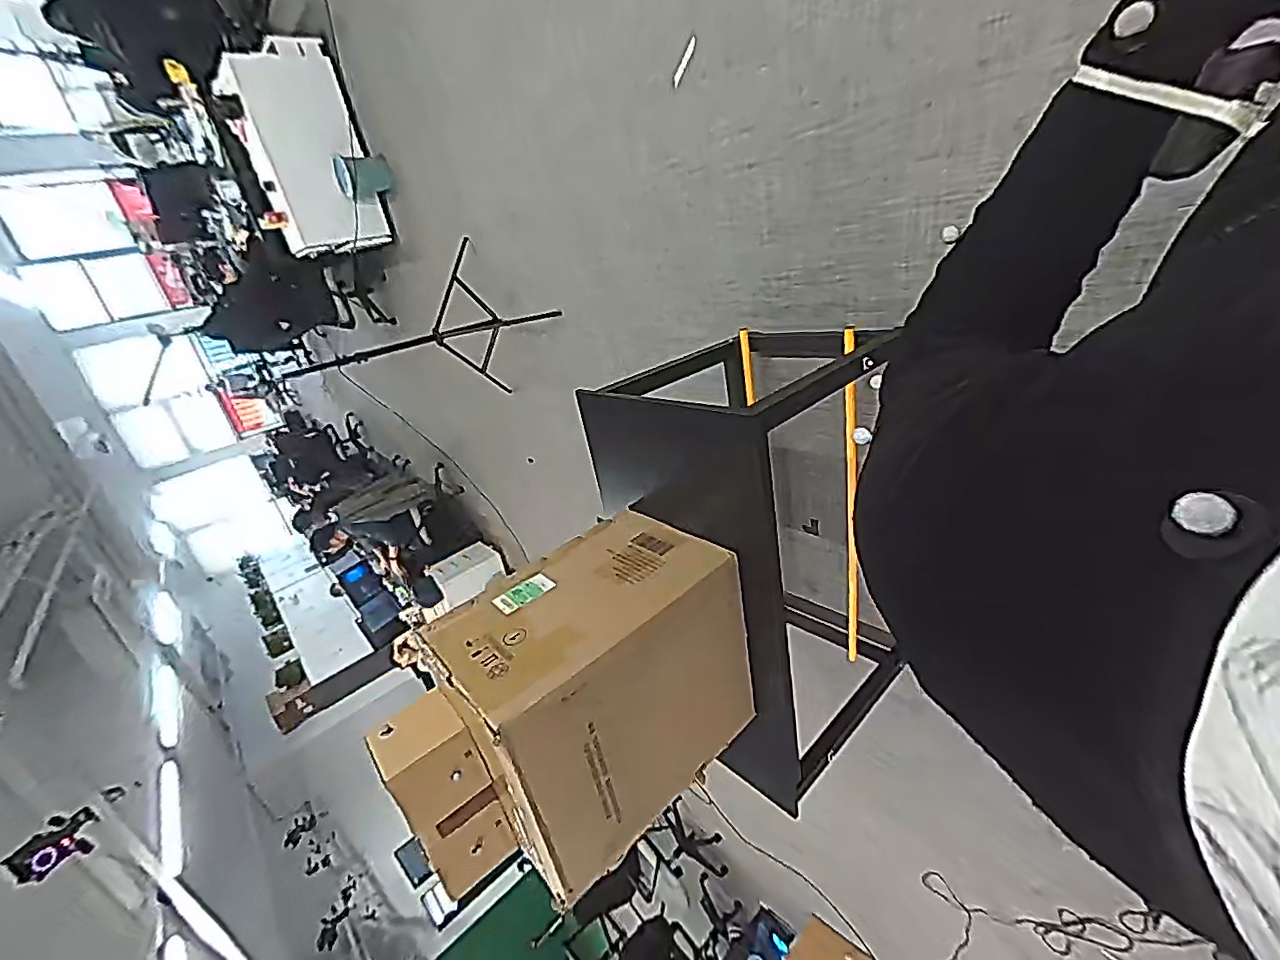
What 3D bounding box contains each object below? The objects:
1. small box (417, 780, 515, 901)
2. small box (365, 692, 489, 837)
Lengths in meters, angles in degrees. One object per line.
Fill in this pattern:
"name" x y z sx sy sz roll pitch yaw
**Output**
"small box" -0.402 0.776 1.224 0.179 0.176 0.168 13 123 50
"small box" -0.439 0.575 1.125 0.179 0.176 0.168 16 127 50
